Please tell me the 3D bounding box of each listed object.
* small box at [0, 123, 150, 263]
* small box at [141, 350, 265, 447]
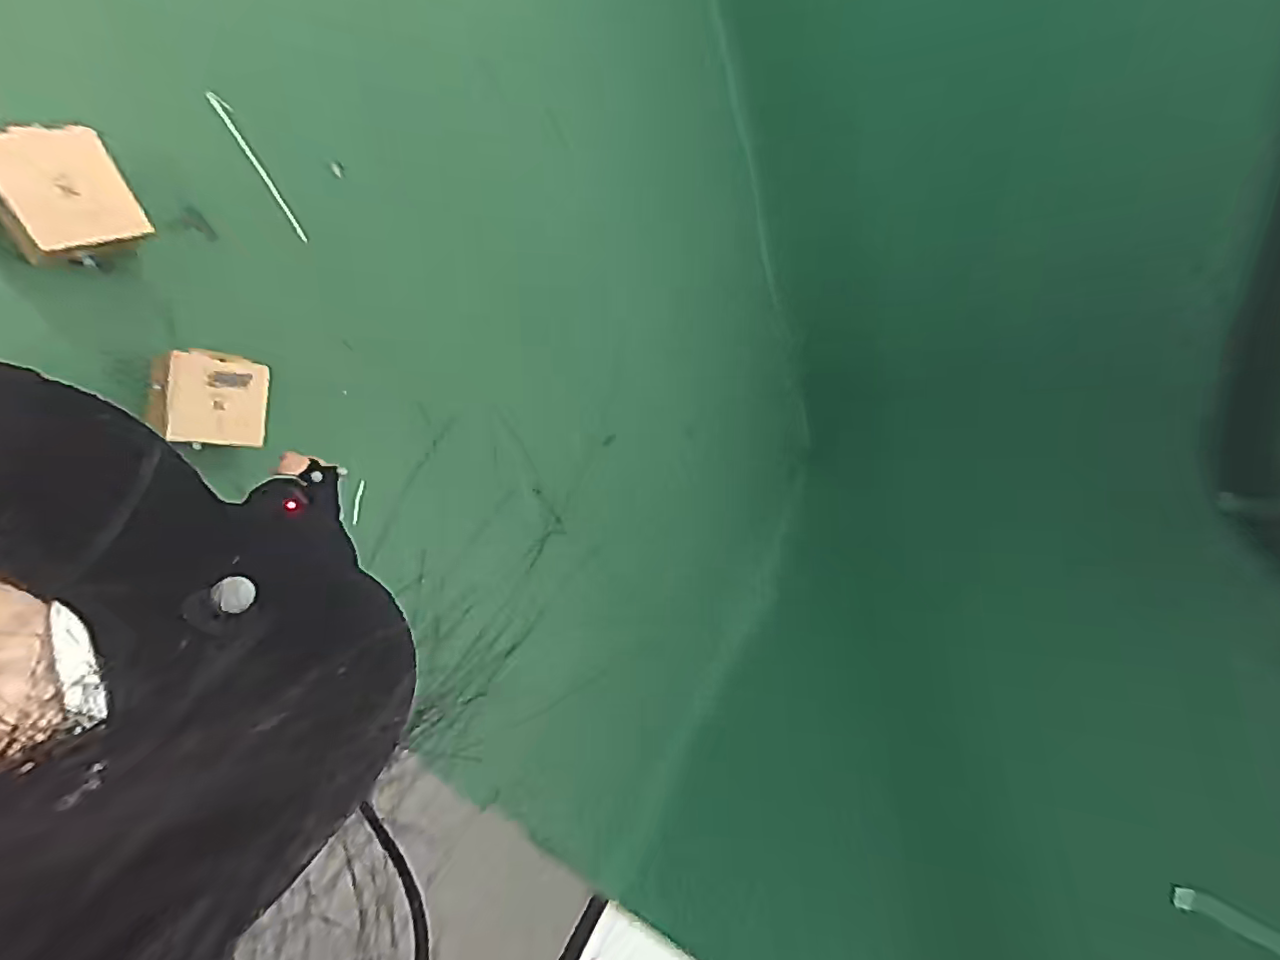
[{"bbox_3d":[-1.035,-0.503,0.958,0.168,0.176,0.179,-41,126,-40],"label":"small box"},{"bbox_3d":[-0.925,-0.167,1.143,0.168,0.176,0.179,4,93,-53],"label":"small box"}]
